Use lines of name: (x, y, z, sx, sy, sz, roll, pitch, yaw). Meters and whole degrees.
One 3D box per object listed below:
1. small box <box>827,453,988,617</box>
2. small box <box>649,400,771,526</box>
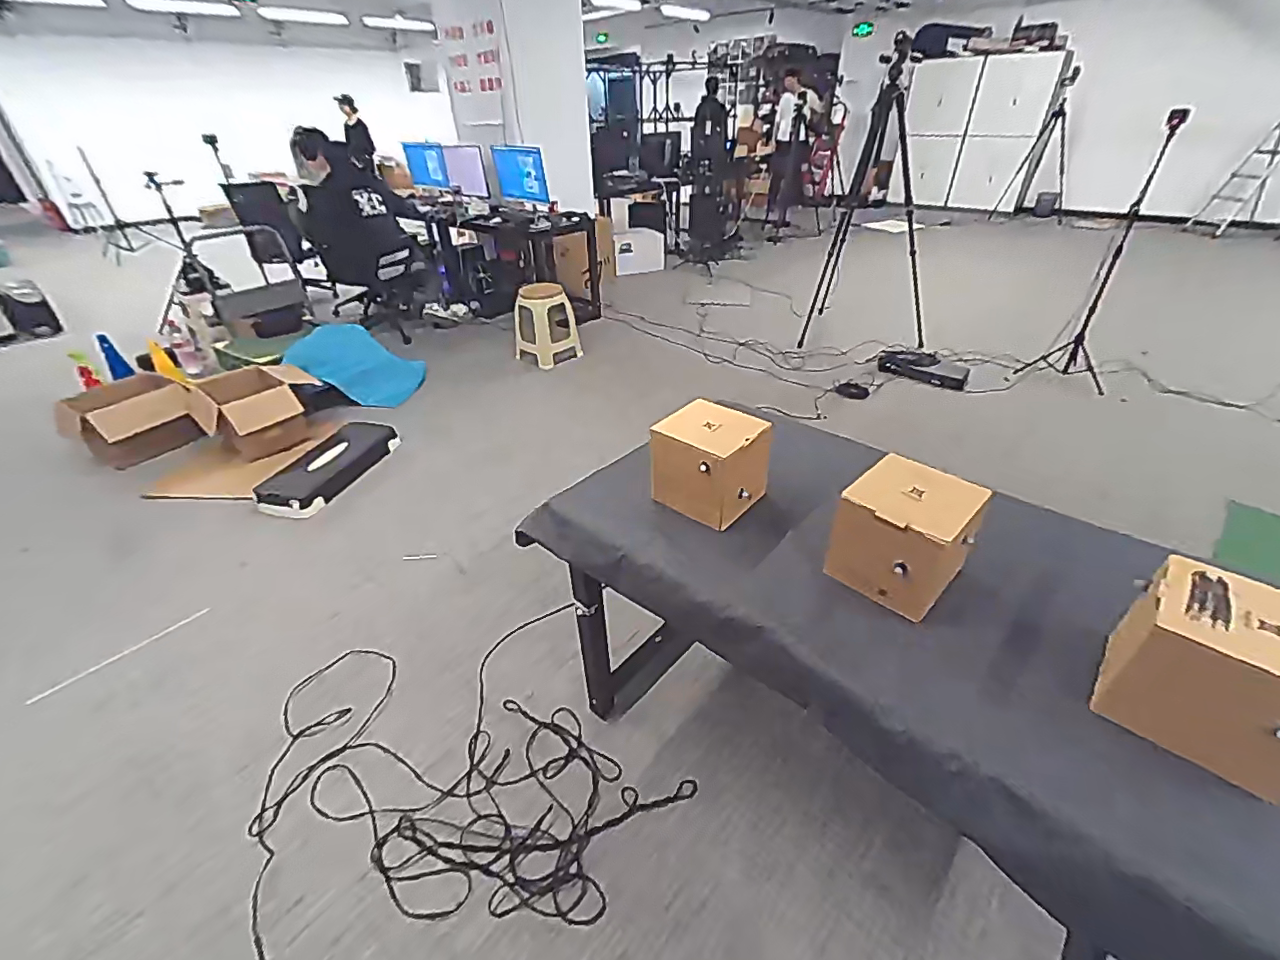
small box: (0.423, 0.087, 0.879, 0.179, 0.176, 0.168, -29, 44, -35)
small box: (0.134, -0.035, 1.070, 0.179, 0.176, 0.168, 25, 42, 33)
